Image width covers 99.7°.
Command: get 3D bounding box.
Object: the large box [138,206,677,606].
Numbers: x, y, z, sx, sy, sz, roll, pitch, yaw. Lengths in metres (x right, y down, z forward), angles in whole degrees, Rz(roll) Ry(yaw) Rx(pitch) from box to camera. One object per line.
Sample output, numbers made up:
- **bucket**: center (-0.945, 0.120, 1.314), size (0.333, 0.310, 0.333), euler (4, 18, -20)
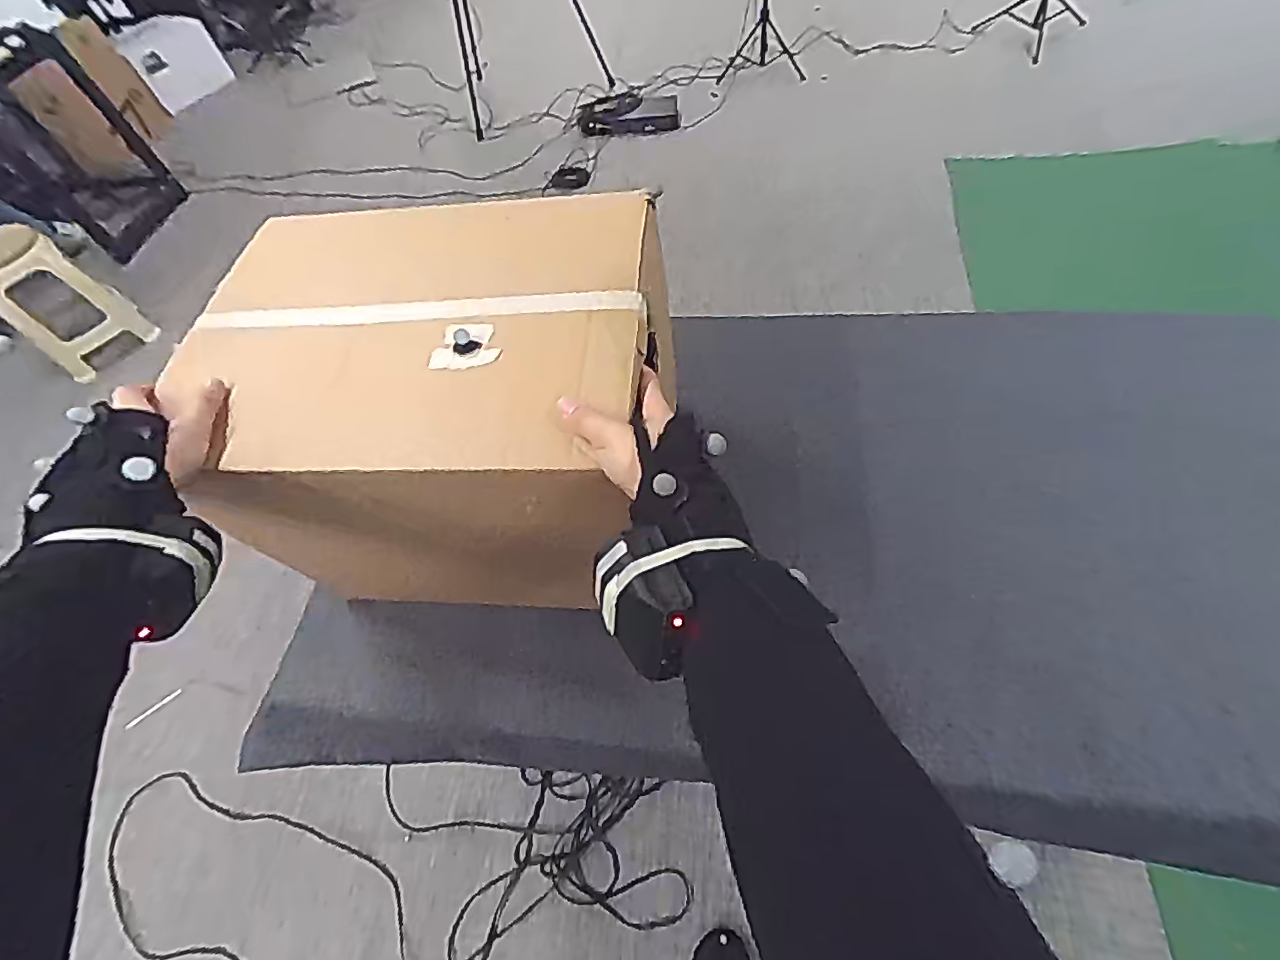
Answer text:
- **large box**: center (-0.169, -0.058, 0.595), size (0.408, 0.320, 0.320), euler (0, 60, 7)
